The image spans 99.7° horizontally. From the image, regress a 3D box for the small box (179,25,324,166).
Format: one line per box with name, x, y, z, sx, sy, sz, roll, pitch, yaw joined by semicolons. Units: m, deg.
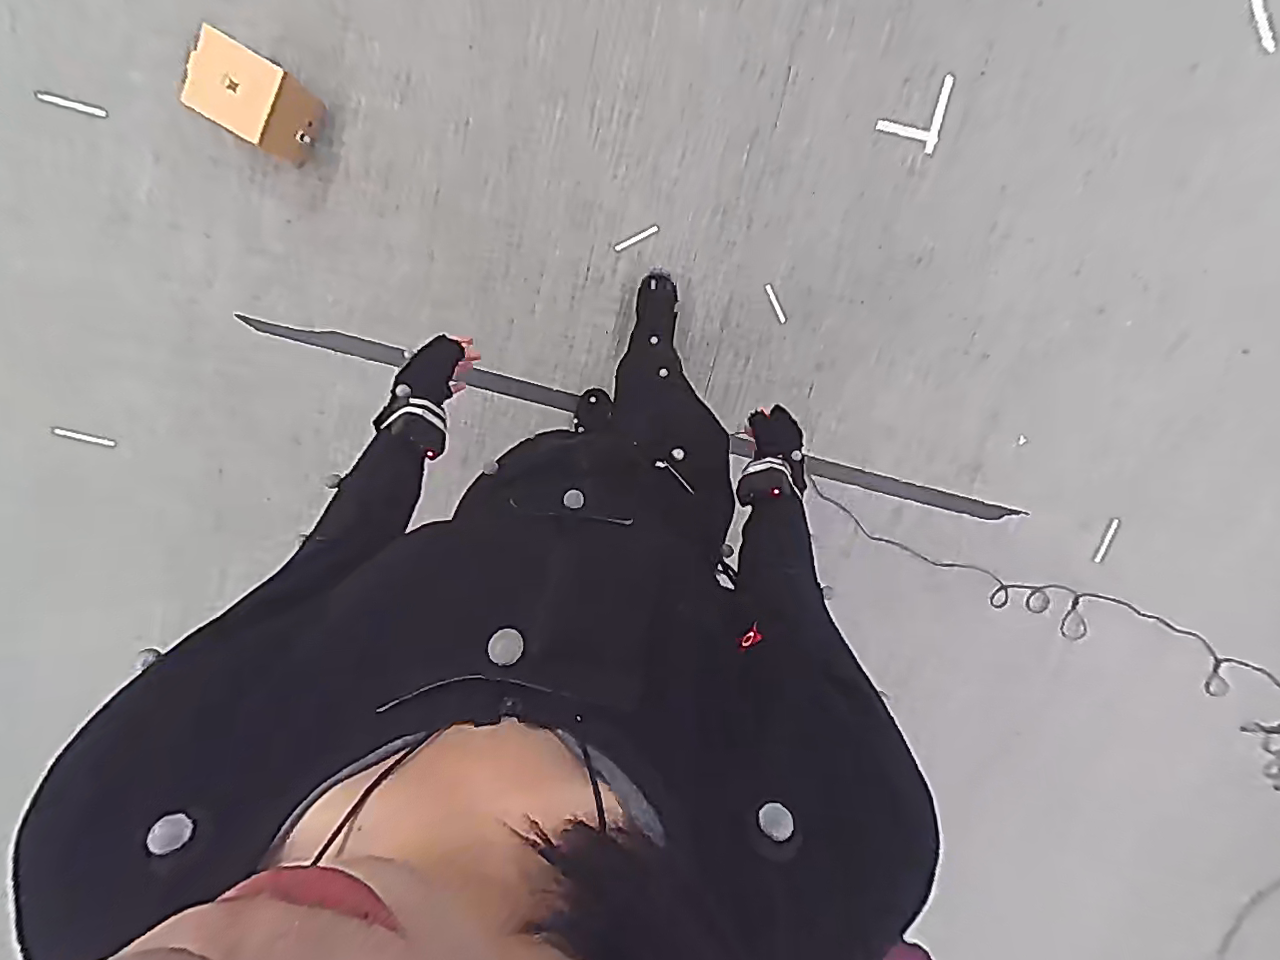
small box;-0.857;-0.842;1.210;0.179;0.176;0.168;28;101;-9
